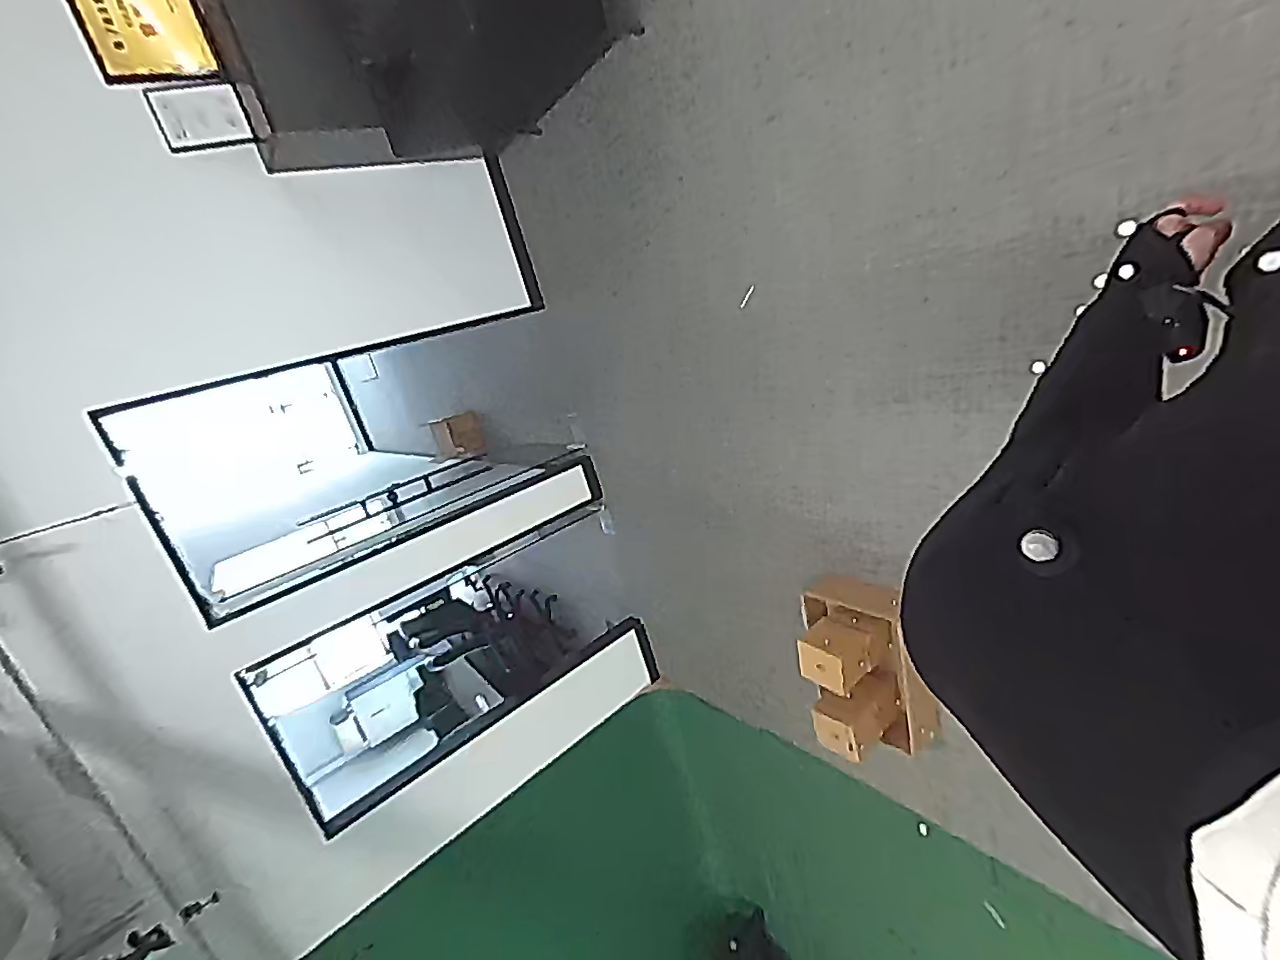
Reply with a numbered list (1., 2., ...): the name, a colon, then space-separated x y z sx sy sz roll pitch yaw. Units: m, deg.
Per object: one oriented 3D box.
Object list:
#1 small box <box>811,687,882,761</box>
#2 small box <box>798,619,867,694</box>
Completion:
1. small box: 0.779 0.905 2.039 0.179 0.176 0.168 5 117 53
2. small box: 0.699 0.628 1.958 0.179 0.176 0.168 13 122 49
